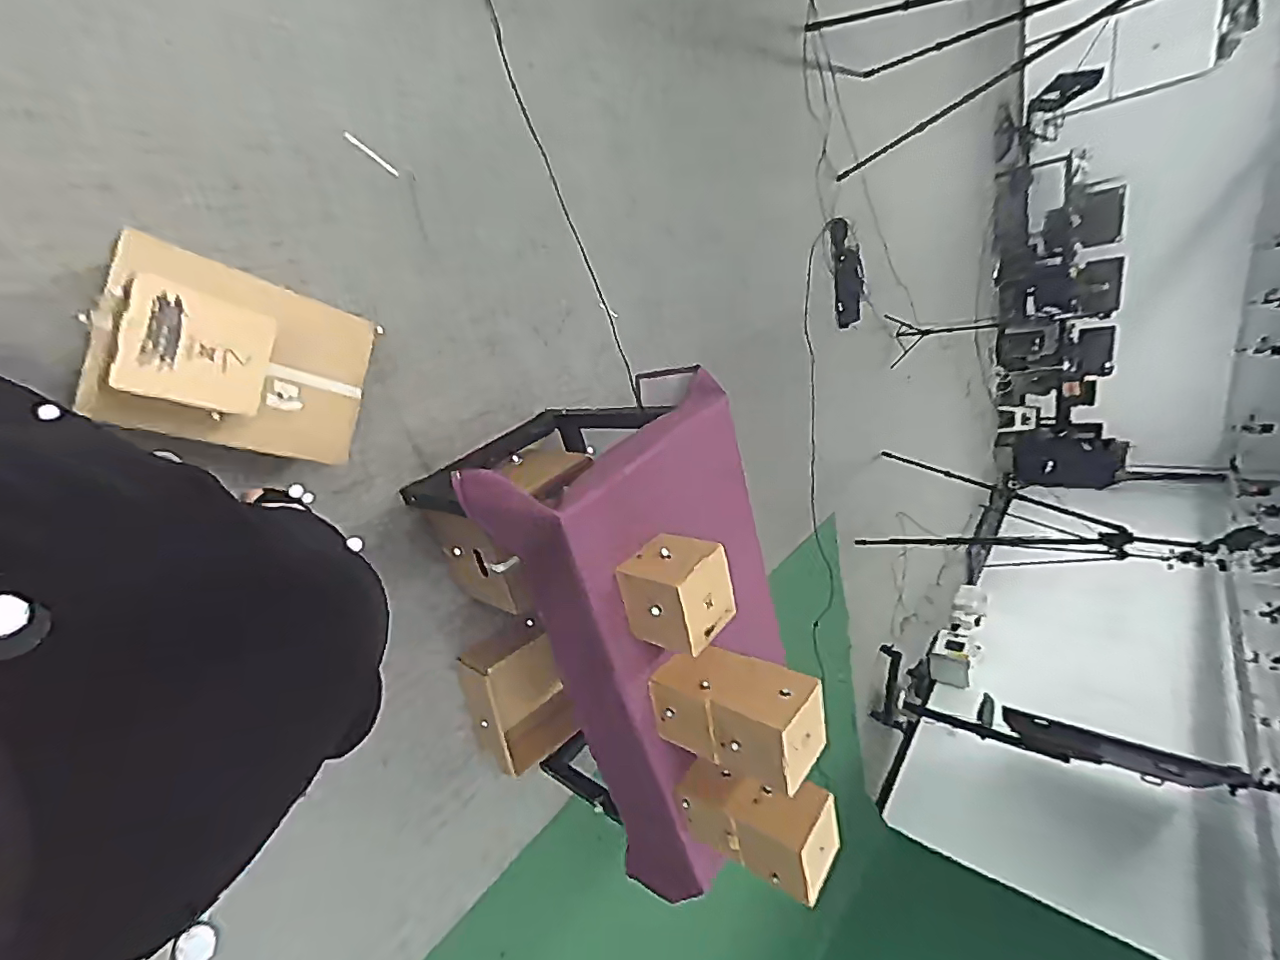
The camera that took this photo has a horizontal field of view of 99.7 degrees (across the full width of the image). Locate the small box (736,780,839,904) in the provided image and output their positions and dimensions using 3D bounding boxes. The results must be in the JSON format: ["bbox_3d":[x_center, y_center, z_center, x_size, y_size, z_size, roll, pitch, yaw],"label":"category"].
[{"bbox_3d":[0.344,0.815,1.259,0.168,0.176,0.179,-32,116,-42],"label":"small box"}]

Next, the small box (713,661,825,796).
[{"bbox_3d":[0.277,0.516,1.154,0.179,0.176,0.168,-26,112,-43],"label":"small box"}]

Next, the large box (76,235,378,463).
[{"bbox_3d":[-0.824,-0.227,1.095,0.408,0.320,0.320,15,84,-48],"label":"large box"}]

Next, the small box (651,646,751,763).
[{"bbox_3d":[0.151,0.506,1.261,0.179,0.176,0.168,-27,113,-42],"label":"small box"}]

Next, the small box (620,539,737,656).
[{"bbox_3d":[0.080,0.238,1.150,0.168,0.176,0.179,-32,117,-40],"label":"small box"}]

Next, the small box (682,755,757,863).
[{"bbox_3d":[0.222,0.800,1.366,0.179,0.176,0.168,-33,118,-41],"label":"small box"}]
